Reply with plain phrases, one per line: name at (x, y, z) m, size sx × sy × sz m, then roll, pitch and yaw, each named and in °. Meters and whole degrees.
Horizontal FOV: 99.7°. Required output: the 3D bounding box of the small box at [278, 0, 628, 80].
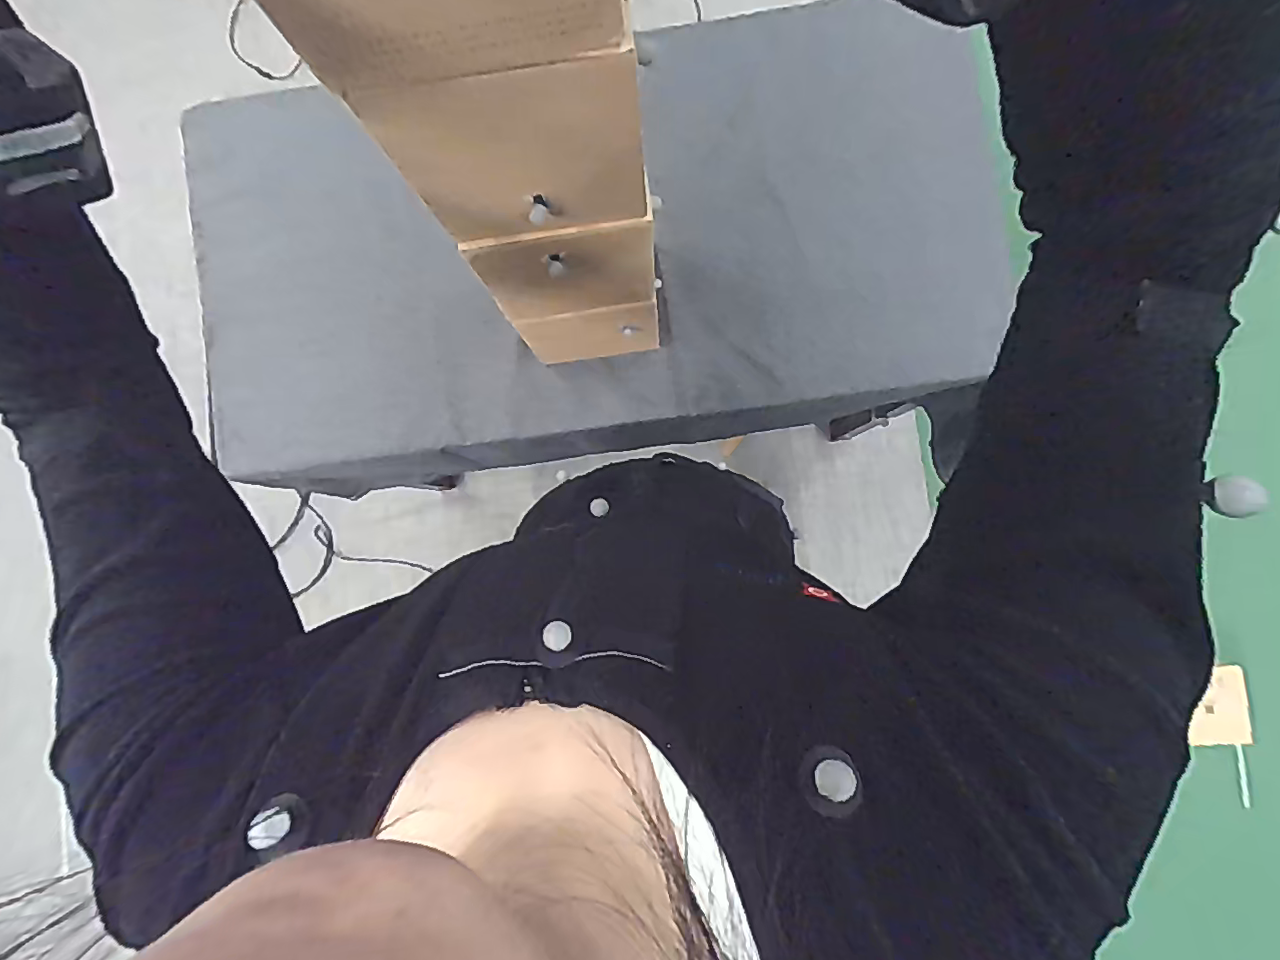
small box at (-0.106, -0.321, 0.238) m, size 0.179 × 0.176 × 0.168 m, roll -8°, pitch 85°, yaw 2°

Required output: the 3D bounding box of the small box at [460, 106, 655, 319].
small box at (-0.080, -0.285, 0.564) m, size 0.179 × 0.176 × 0.168 m, roll -8°, pitch 85°, yaw 3°

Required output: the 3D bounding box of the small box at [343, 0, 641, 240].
small box at (-0.092, -0.304, 0.401) m, size 0.179 × 0.176 × 0.168 m, roll -6°, pitch 84°, yaw 2°

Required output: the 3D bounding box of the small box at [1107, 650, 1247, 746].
small box at (1.290, 0.522, 1.312) m, size 0.168 × 0.176 × 0.179 m, roll -3°, pitch 85°, yaw 2°
